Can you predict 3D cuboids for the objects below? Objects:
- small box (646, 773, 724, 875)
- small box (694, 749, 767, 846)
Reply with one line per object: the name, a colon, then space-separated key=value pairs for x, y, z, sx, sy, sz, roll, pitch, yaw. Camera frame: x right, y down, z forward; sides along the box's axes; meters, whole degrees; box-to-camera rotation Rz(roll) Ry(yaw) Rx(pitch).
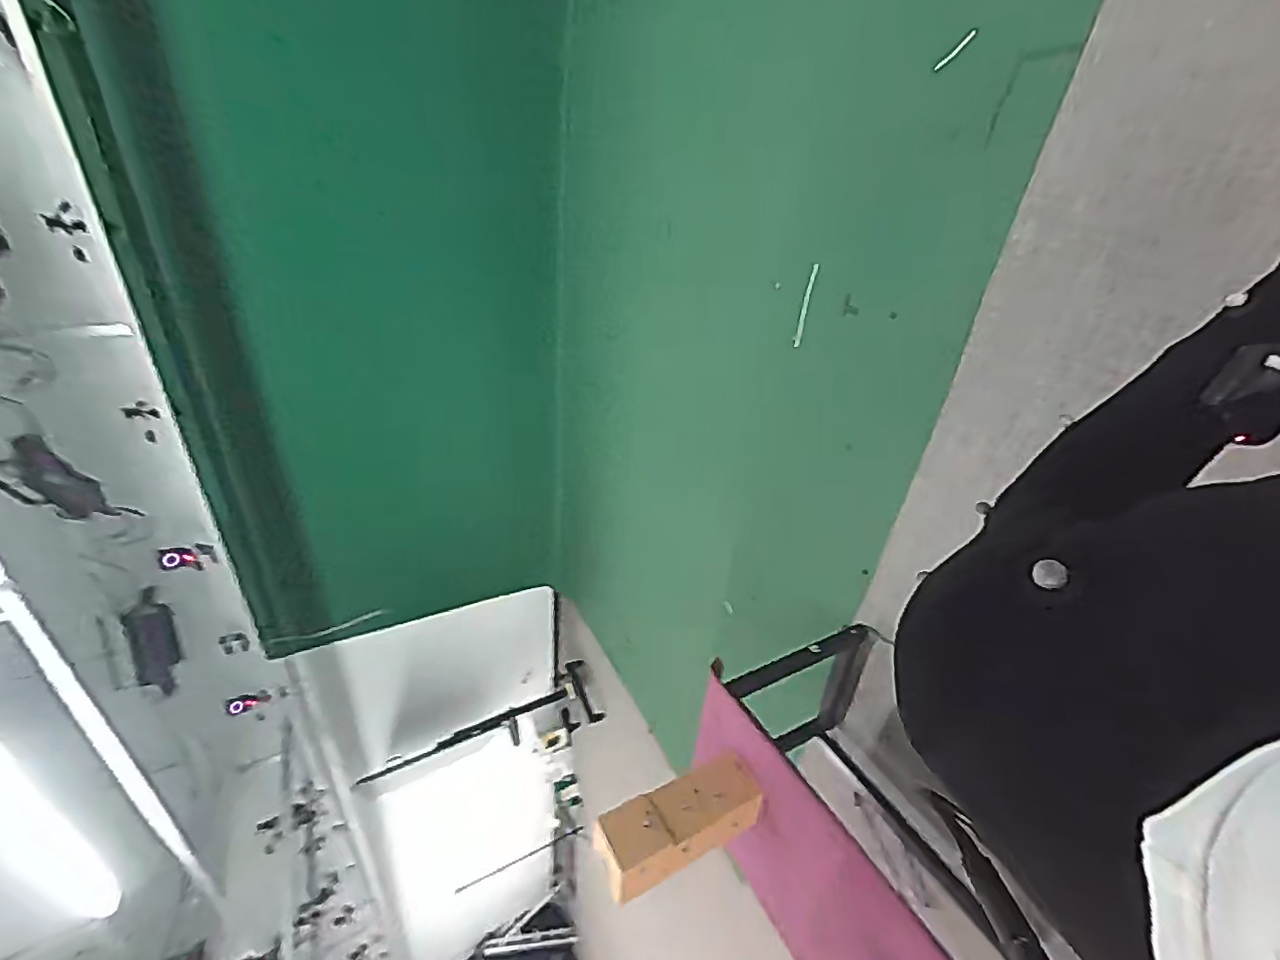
small box: x=0.135 y=1.030 z=1.631 sx=0.168 sy=0.176 sz=0.179 roll=45 pitch=139 yaw=48
small box: x=0.279 y=0.996 z=1.704 sx=0.168 sy=0.176 sz=0.179 roll=41 pitch=137 yaw=48
